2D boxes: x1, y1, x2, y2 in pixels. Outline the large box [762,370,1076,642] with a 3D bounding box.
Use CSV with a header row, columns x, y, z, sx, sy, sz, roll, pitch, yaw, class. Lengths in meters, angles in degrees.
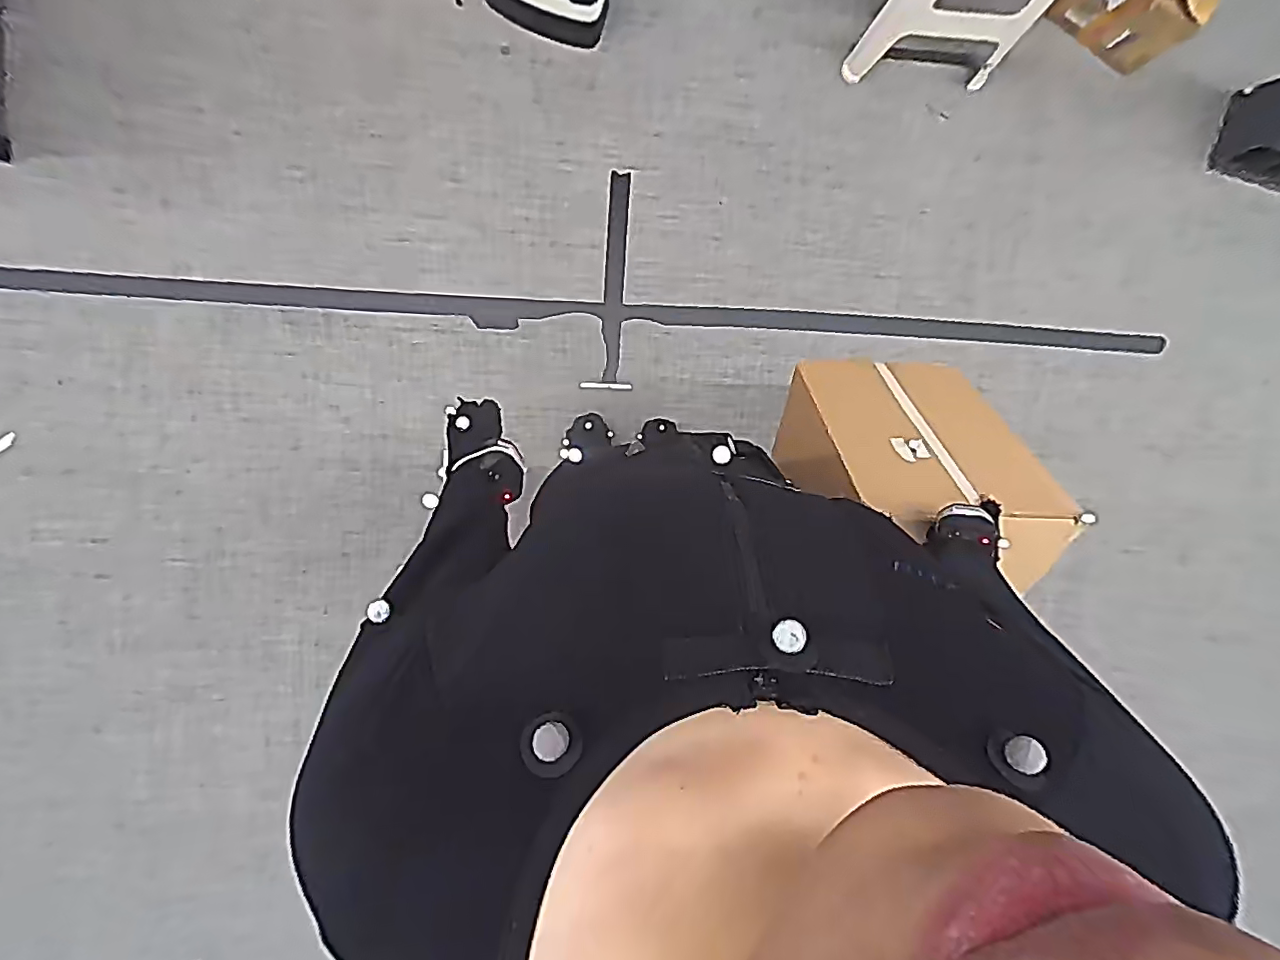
x,y,z,sx,sy,sz,roll,pitch,yaw,class
0.444,0.041,0.993,0.320,0.408,0.320,1,133,-4,large box
